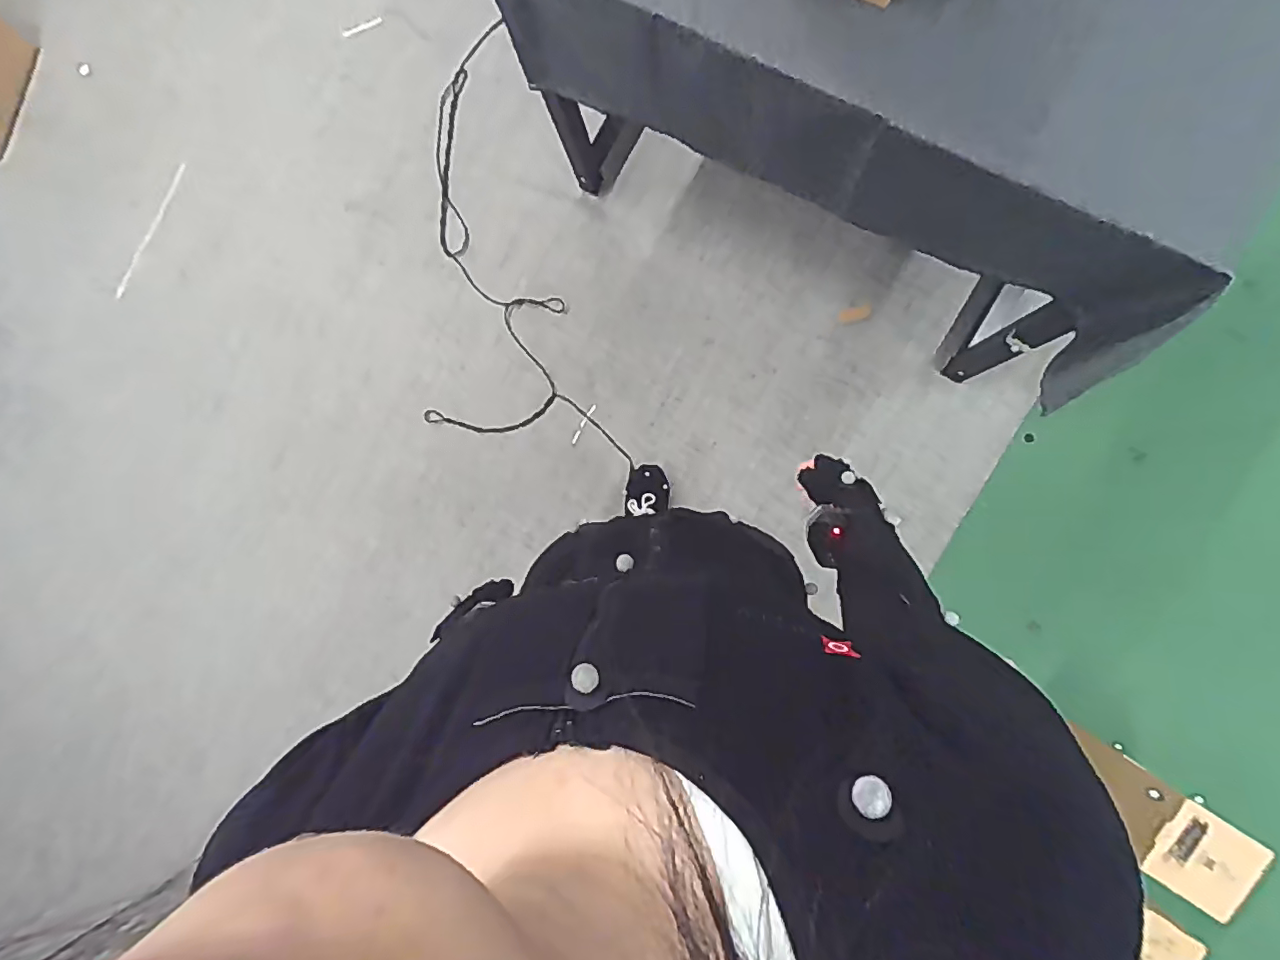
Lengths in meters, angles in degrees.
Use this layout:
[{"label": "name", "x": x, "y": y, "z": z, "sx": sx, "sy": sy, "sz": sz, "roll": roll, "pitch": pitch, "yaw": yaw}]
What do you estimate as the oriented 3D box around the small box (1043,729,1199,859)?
[{"label": "small box", "x": 1.099, "y": 0.712, "z": 1.255, "sx": 0.179, "sy": 0.176, "sz": 0.168, "roll": 35, "pitch": 93, "yaw": 7}]
